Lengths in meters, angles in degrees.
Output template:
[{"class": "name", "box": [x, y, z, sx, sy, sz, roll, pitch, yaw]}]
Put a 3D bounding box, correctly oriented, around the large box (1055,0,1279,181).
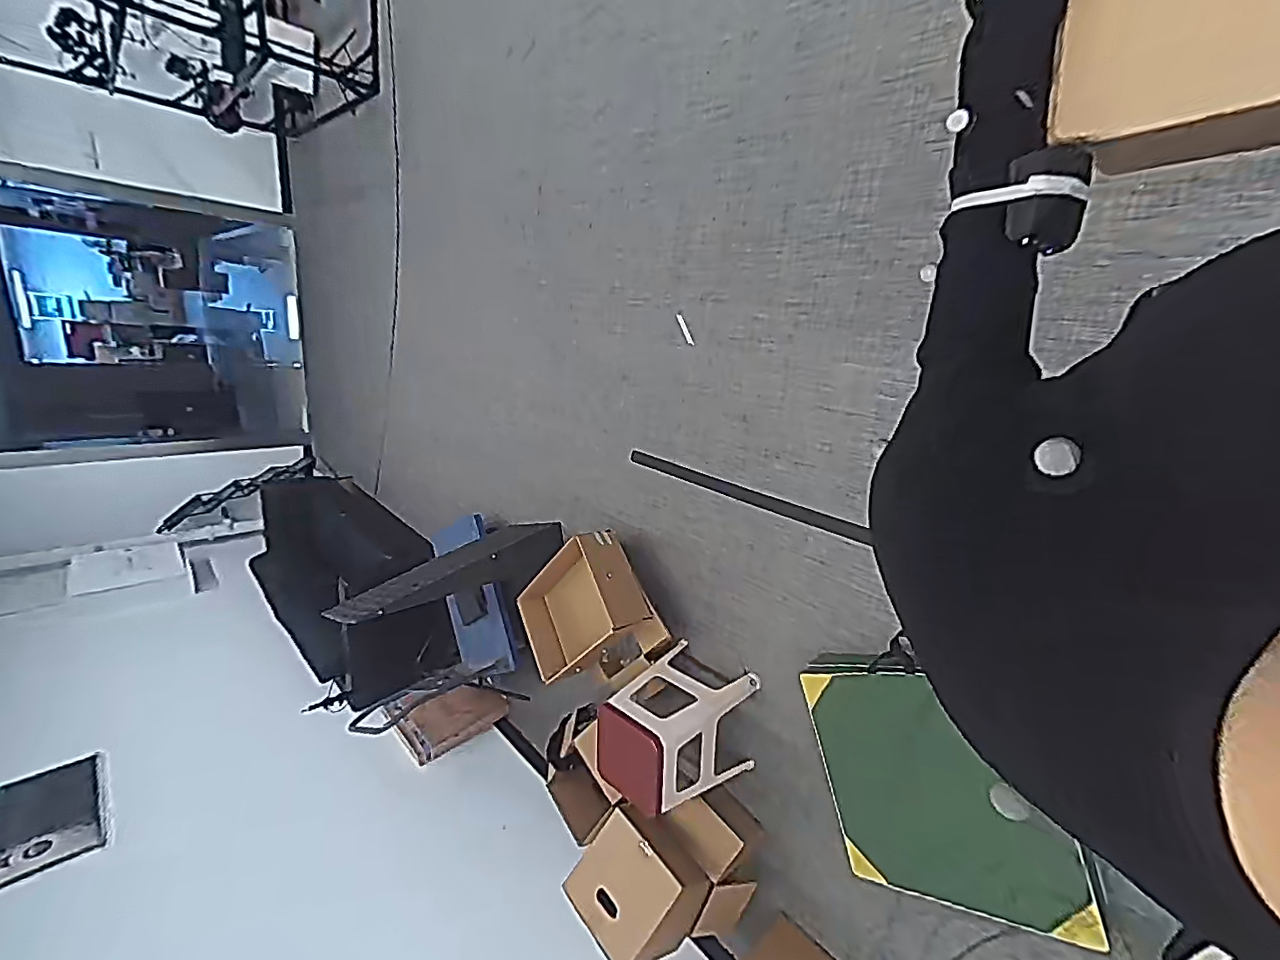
[{"class": "large box", "box": [0.544, -0.413, 0.338, 0.408, 0.320, 0.320, 11, 116, 43]}]
